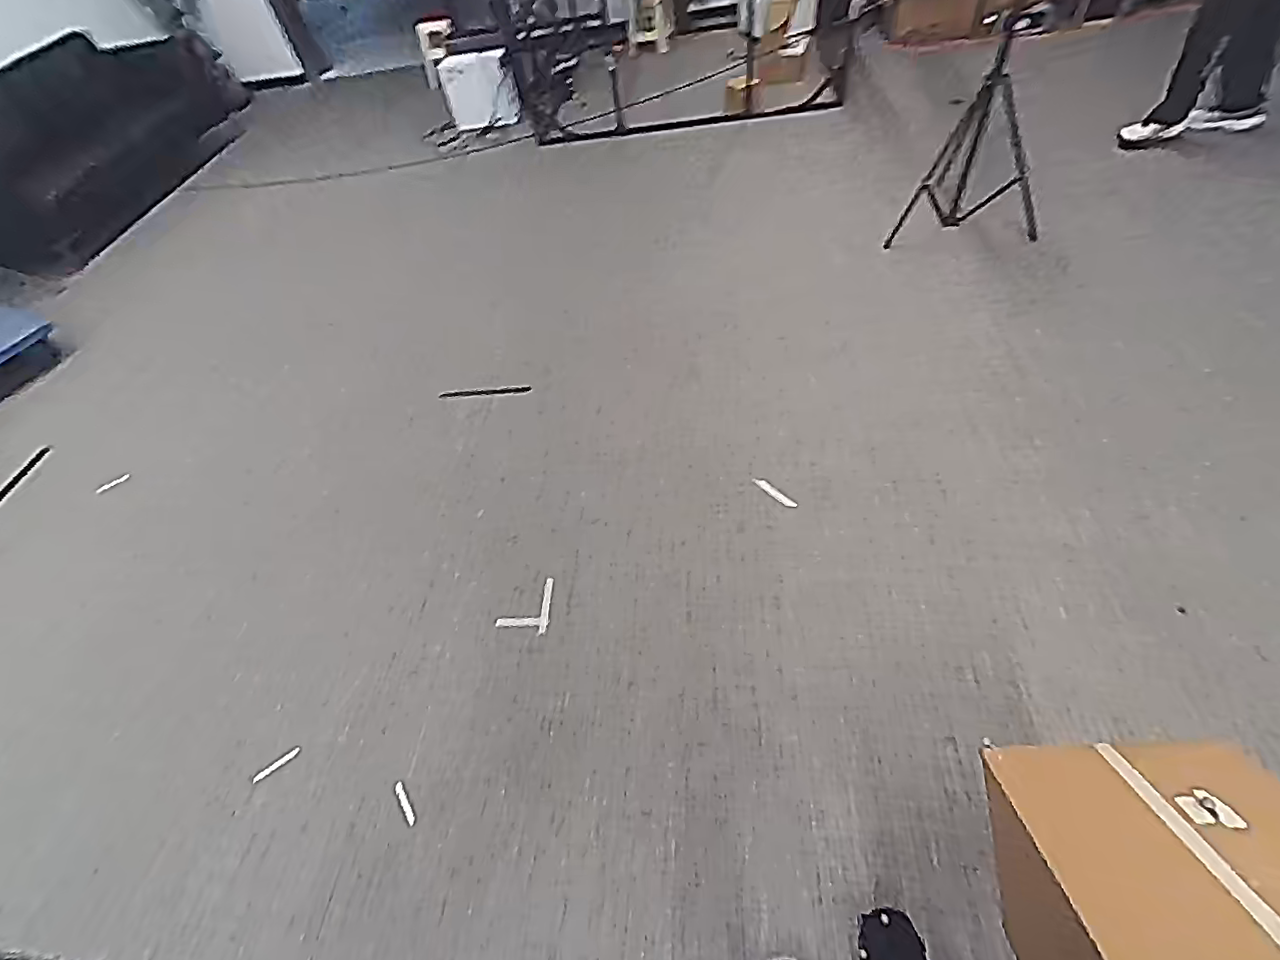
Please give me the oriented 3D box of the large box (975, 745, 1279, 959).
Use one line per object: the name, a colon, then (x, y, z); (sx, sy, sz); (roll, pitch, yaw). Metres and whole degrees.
large box: (0.650, 0.572, 0.619); (0.320, 0.320, 0.408); (-9, 5, 13)
